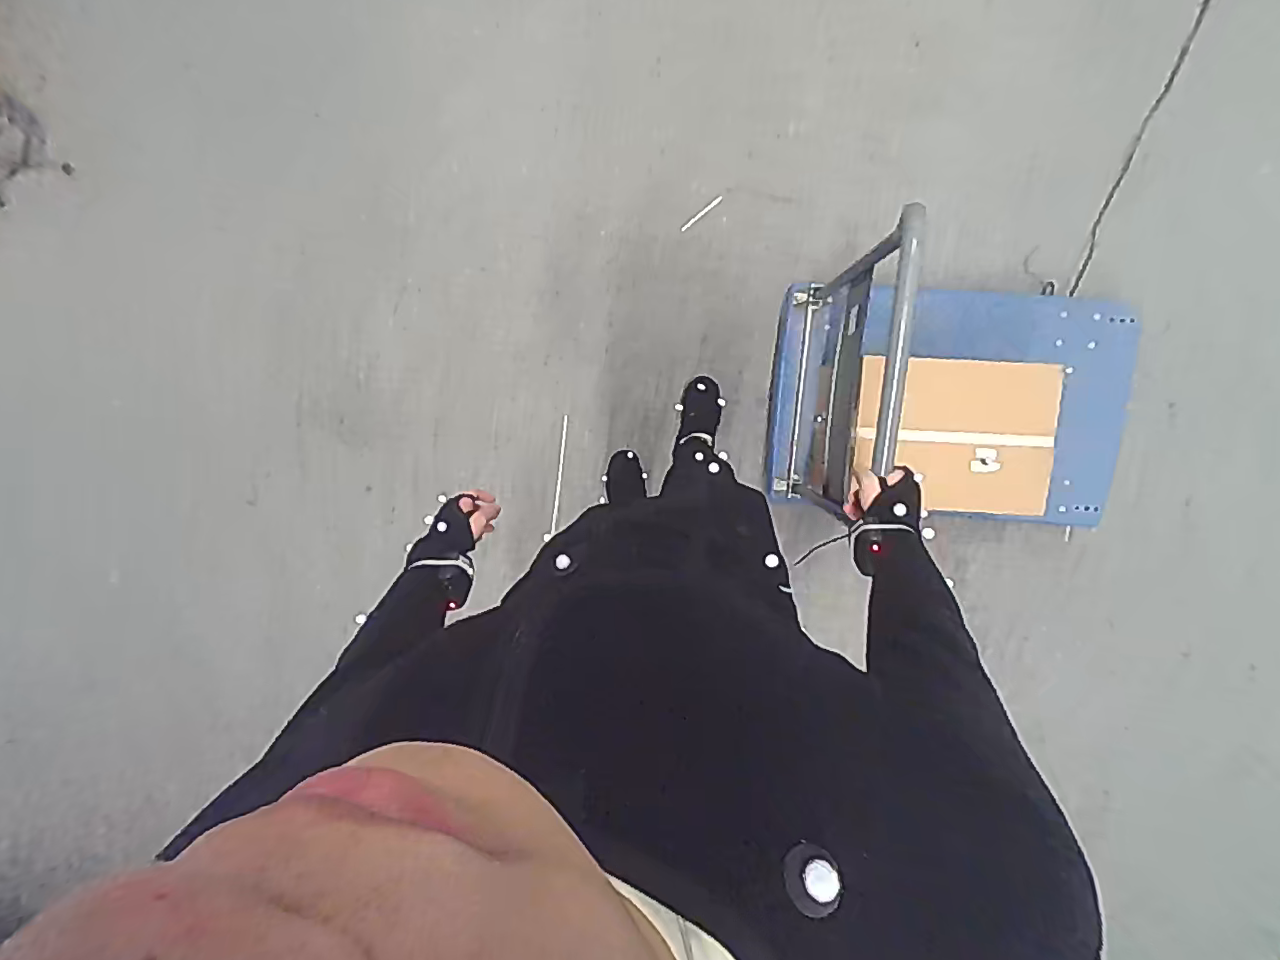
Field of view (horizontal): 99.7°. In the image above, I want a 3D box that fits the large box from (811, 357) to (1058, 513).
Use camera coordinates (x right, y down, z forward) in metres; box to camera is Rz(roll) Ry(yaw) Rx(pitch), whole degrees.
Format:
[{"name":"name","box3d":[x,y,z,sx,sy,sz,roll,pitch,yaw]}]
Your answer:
[{"name":"large box","box3d":[0.648,-0.106,1.264,0.408,0.320,0.320,3,97,1]}]
